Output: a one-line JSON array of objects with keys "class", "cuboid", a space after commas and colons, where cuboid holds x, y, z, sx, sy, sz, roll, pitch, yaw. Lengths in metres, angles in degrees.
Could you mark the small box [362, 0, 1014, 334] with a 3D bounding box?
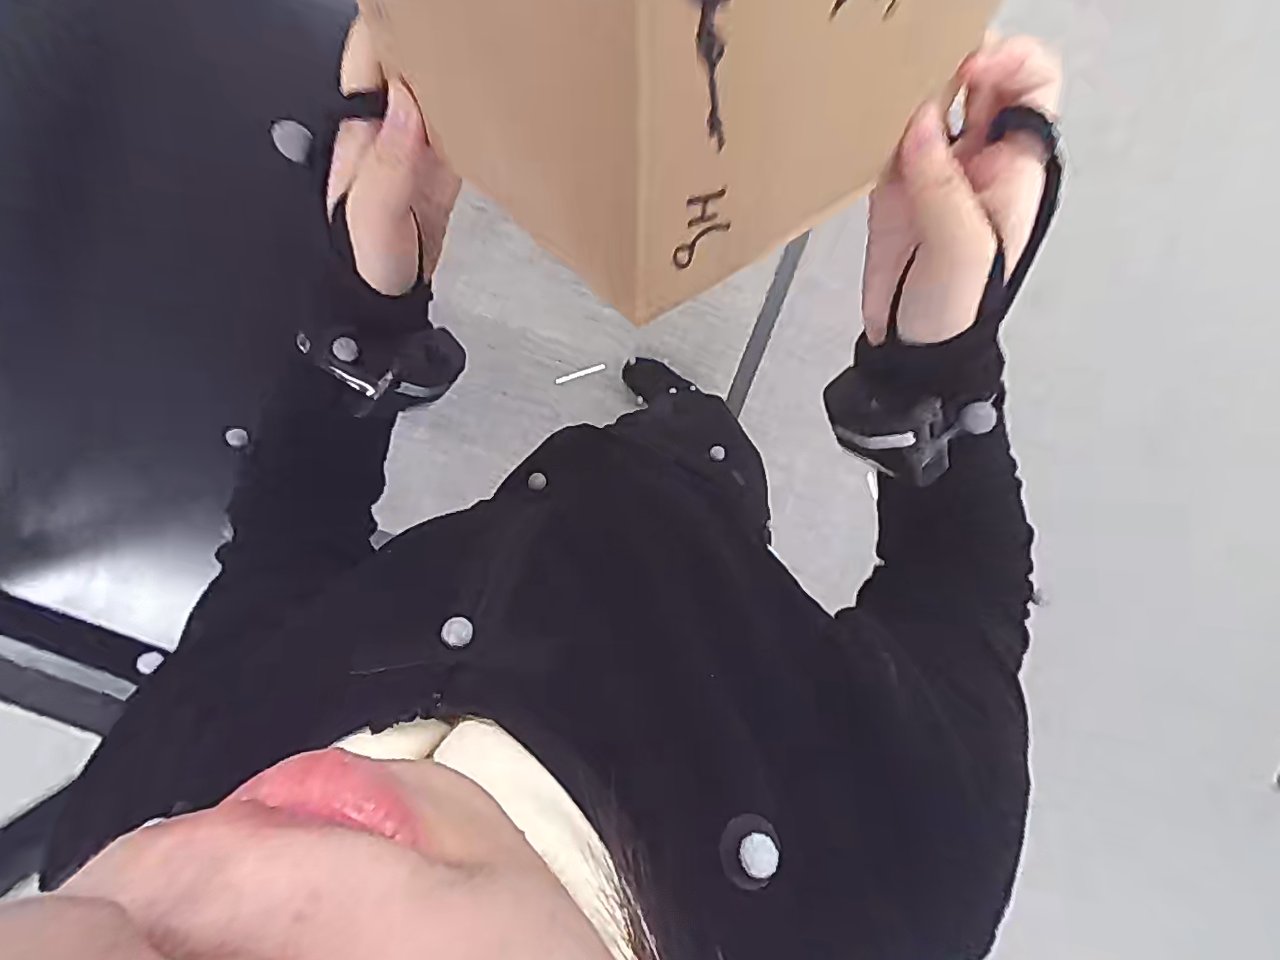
[{"class": "small box", "cuboid": [0.016, -0.189, 0.173, 0.179, 0.168, 0.176, -35, 66, -20]}]
